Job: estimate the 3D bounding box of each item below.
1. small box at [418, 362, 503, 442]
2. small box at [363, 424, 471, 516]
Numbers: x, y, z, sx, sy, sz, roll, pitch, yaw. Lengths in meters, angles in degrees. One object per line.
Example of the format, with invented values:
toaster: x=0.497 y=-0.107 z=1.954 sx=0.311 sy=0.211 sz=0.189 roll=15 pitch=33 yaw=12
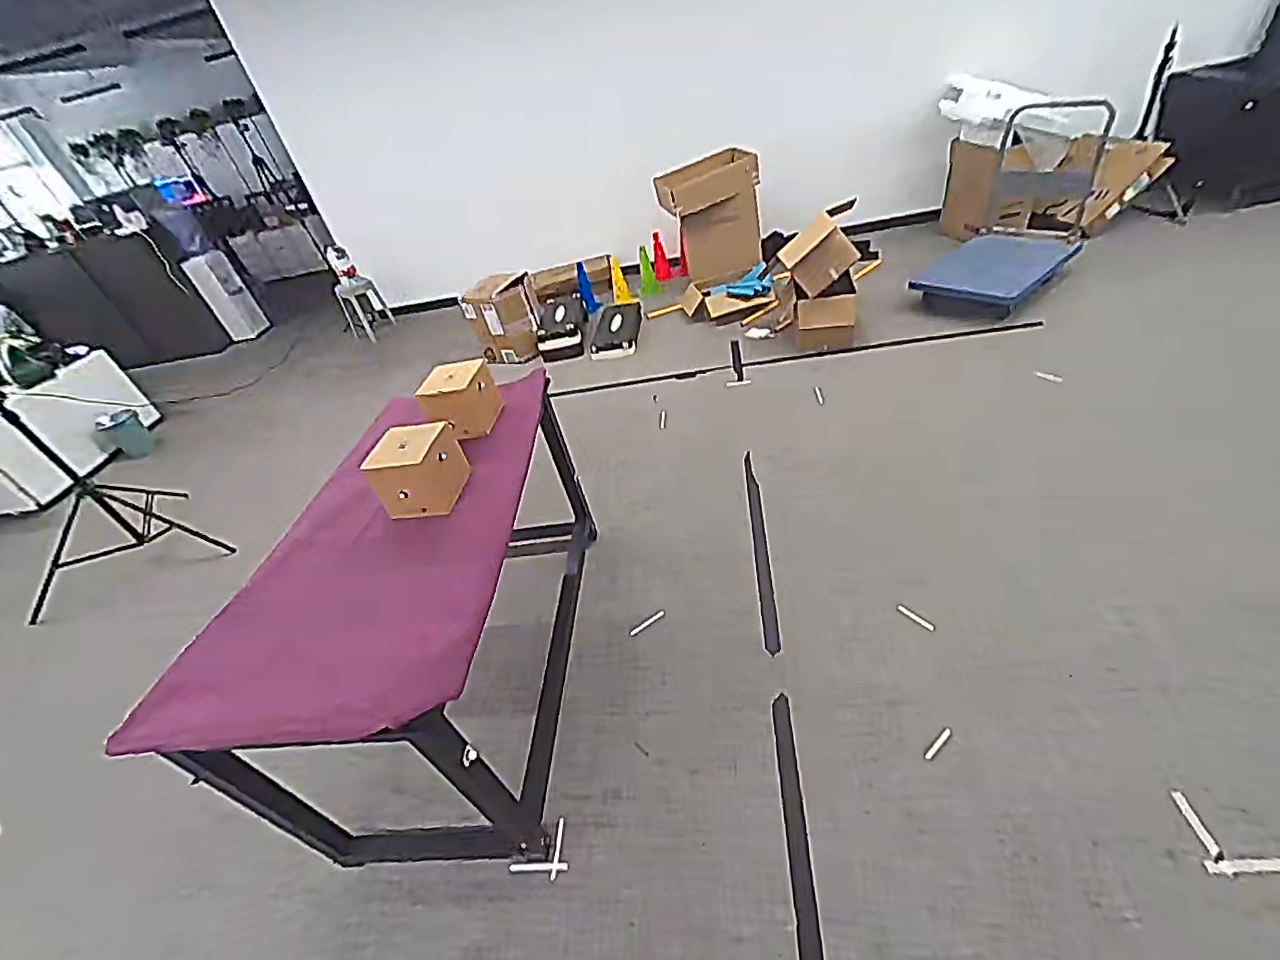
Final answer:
small box: x=-0.533 y=-0.234 z=1.640 sx=0.168 sy=0.176 sz=0.179 roll=-6 pitch=40 yaw=12
small box: x=-0.557 y=-0.020 z=1.382 sx=0.168 sy=0.176 sz=0.179 roll=-5 pitch=39 yaw=11
